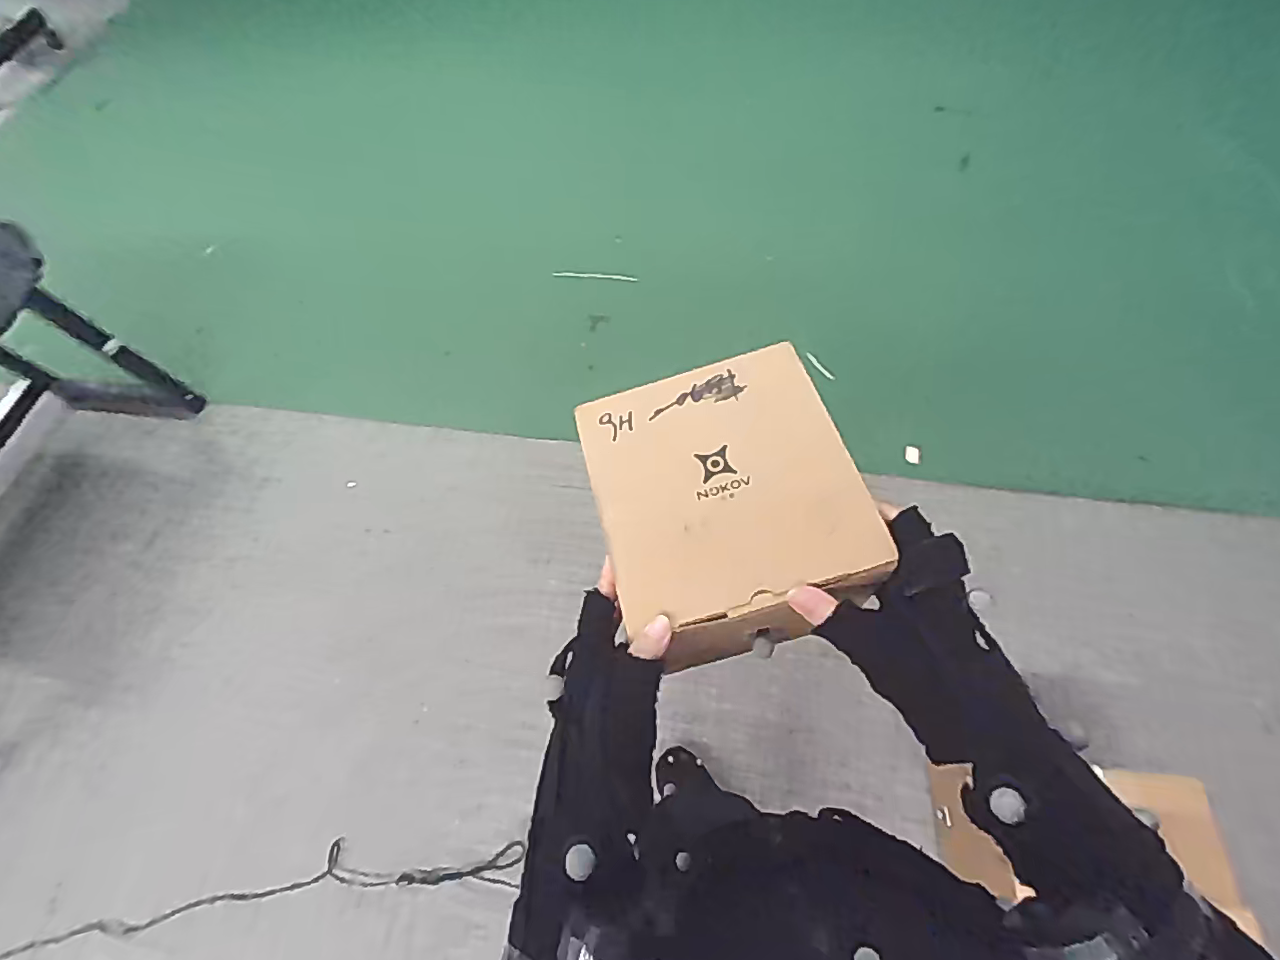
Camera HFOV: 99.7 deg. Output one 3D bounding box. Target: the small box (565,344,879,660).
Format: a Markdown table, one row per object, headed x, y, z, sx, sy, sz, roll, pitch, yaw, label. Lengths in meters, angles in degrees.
| x | y | z | sx | sy | sz | roll | pitch | yaw | label |
| --- | --- | --- | --- | --- | --- | --- | --- | --- | --- |
| 0.056 | 0.033 | 0.425 | 0.168 | 0.176 | 0.179 | -18 | 64 | 2 | small box |

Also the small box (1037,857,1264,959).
| x | y | z | sx | sy | sz | roll | pitch | yaw | label |
| --- | --- | --- | --- | --- | --- | --- | --- | --- | --- |
| 0.666 | 0.633 | 0.716 | 0.168 | 0.176 | 0.179 | 6 | 65 | 10 | small box |
